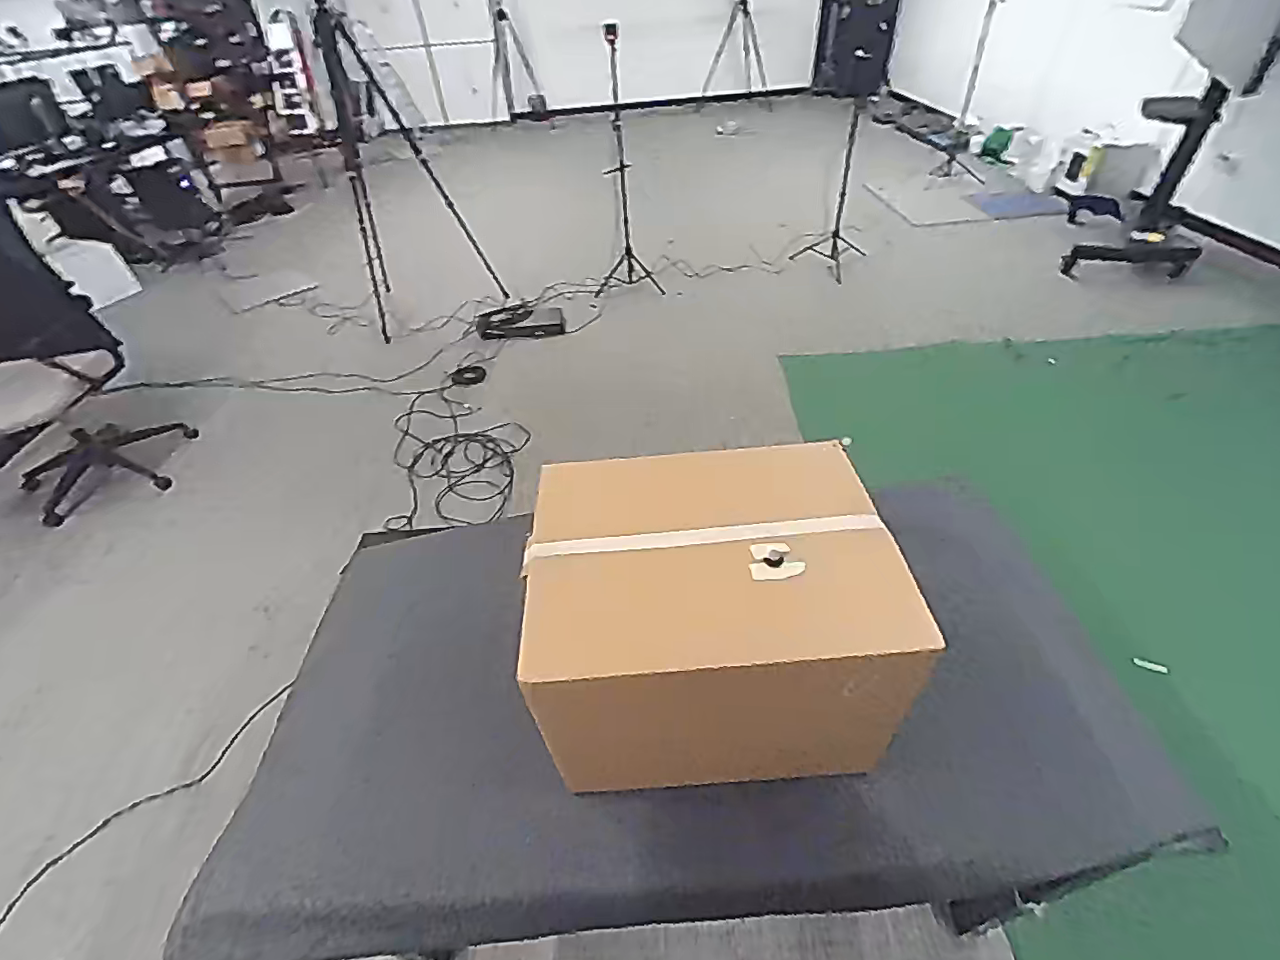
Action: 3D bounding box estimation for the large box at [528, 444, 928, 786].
[{"bbox_3d":[0.084,0.181,0.733,0.408,0.320,0.320,-5,44,0],"label":"large box"}]
